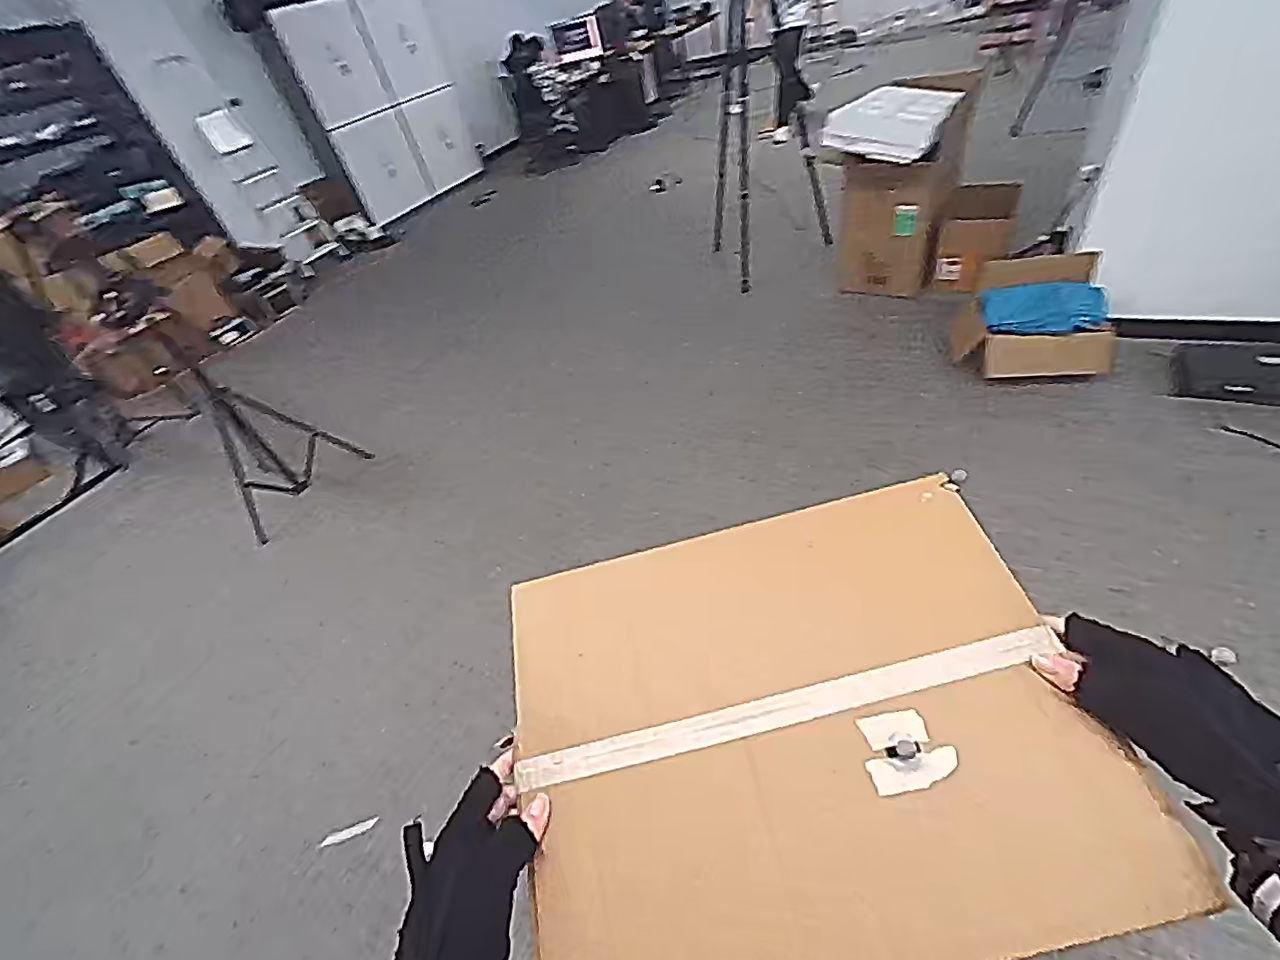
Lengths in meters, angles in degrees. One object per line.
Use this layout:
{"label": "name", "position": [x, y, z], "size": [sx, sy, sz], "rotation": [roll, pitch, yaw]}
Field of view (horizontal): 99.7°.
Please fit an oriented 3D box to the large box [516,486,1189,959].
{"label": "large box", "position": [0.131, 0.263, 0.530], "size": [0.408, 0.320, 0.320], "rotation": [-16, 54, 0]}
